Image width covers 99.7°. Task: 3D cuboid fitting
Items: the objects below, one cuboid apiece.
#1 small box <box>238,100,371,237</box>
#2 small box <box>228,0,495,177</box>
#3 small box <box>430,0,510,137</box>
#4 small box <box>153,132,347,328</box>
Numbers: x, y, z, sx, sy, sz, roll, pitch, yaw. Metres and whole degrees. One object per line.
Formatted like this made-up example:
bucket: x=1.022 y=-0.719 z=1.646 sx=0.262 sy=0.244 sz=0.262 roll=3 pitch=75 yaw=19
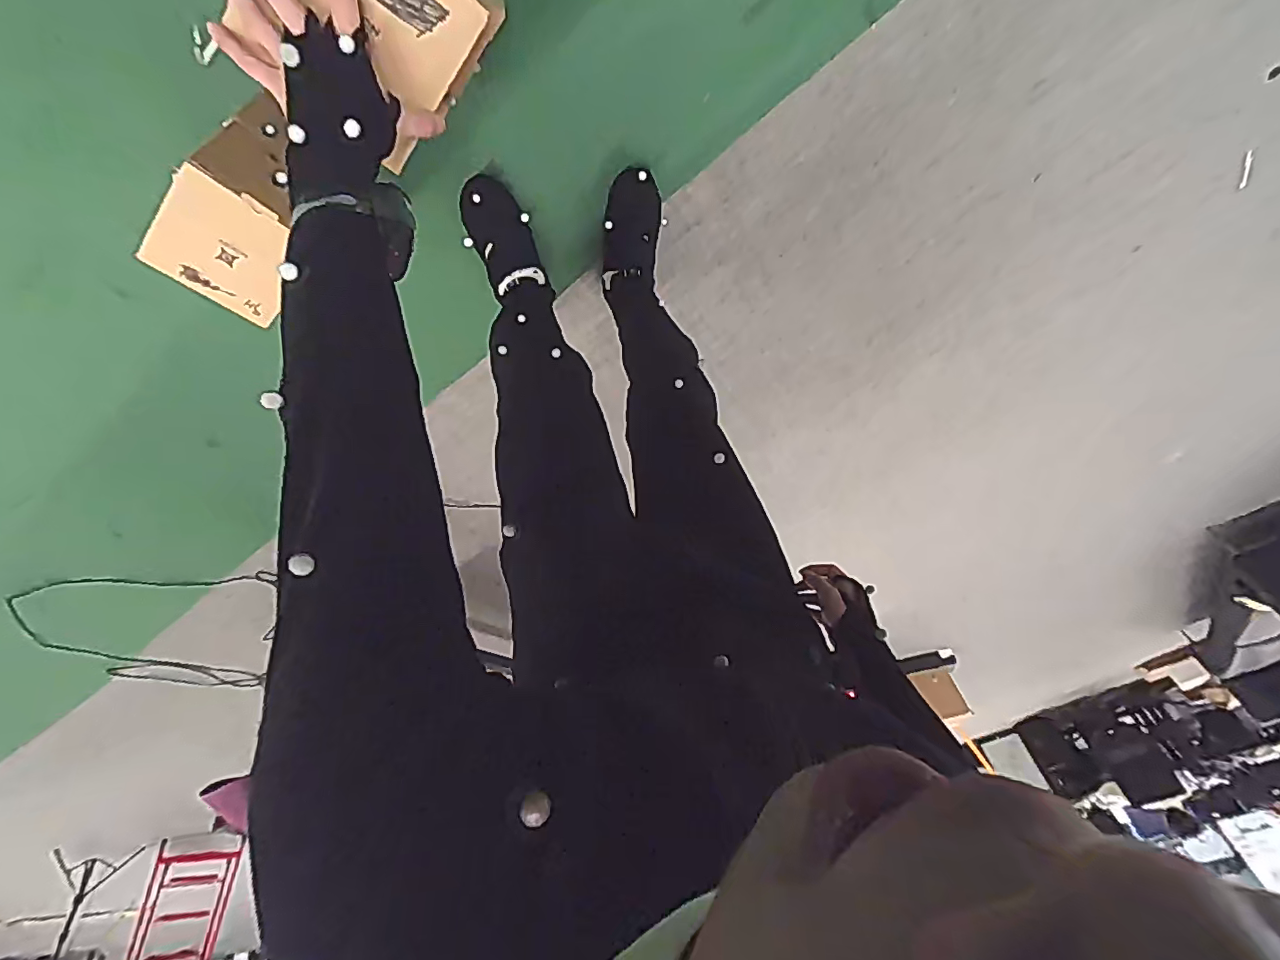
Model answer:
small box: x=-0.589 y=-0.496 z=0.918 sx=0.168 sy=0.176 sz=0.179 roll=-33 pitch=133 yaw=23
small box: x=-0.262 y=-0.456 z=0.538 sx=0.168 sy=0.176 sz=0.179 roll=29 pitch=124 yaw=-35
small box: x=-0.279 y=-0.573 z=0.660 sx=0.179 sy=0.176 sz=0.168 roll=27 pitch=126 yaw=-37
small box: x=-0.567 y=-0.375 z=0.811 sx=0.179 sy=0.176 sz=0.168 roll=-36 pitch=133 yaw=24
